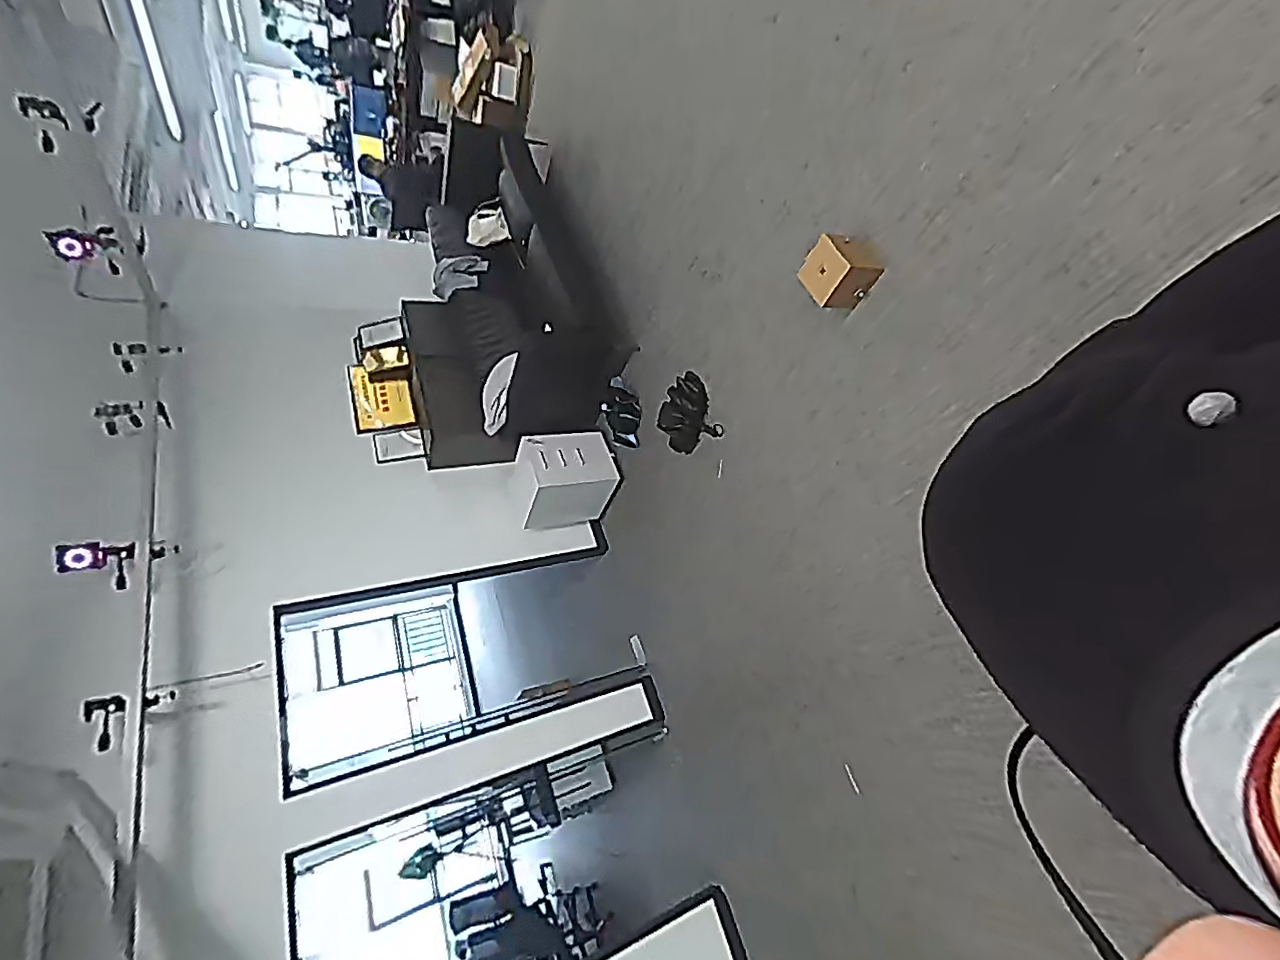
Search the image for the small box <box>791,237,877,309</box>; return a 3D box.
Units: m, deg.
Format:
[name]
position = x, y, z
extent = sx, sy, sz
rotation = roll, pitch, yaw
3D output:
[small box]
position = 0.658, -0.698, 1.840
extent = 0.179, 0.176, 0.168
rotation = 65, 148, 27
